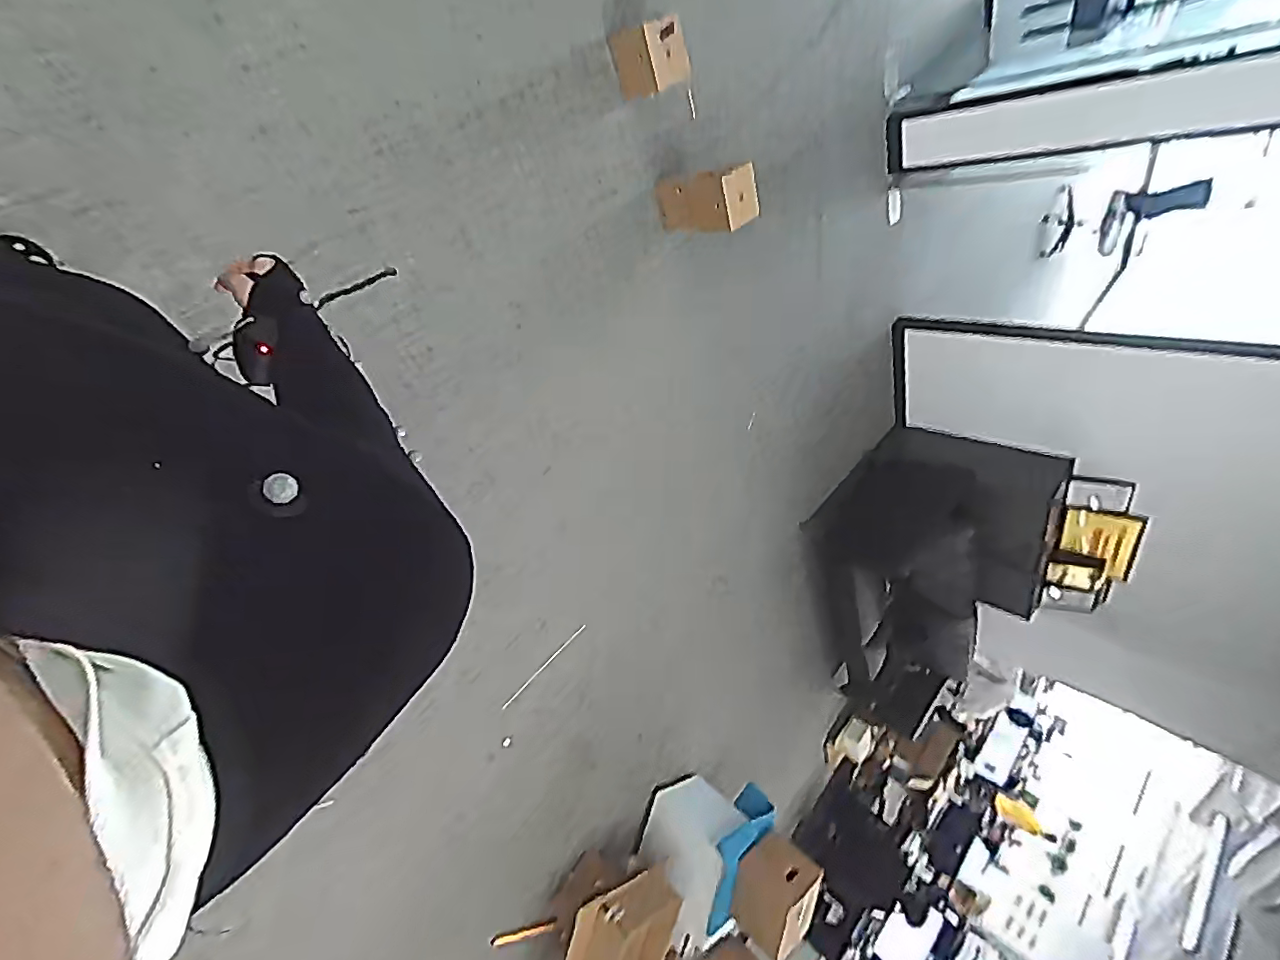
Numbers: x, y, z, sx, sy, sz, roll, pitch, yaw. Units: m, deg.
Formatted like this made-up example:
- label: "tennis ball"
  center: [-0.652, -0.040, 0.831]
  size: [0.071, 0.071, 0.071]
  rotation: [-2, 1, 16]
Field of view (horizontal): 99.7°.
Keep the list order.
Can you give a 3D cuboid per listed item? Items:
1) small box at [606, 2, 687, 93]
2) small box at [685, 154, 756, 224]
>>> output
- label: "small box"
  center: [0.019, -1.377, 1.730]
  size: [0.168, 0.176, 0.179]
  rotation: [-43, 132, -24]
- label: "small box"
  center: [0.278, -1.013, 1.894]
  size: [0.168, 0.176, 0.179]
  rotation: [-41, 132, -25]
